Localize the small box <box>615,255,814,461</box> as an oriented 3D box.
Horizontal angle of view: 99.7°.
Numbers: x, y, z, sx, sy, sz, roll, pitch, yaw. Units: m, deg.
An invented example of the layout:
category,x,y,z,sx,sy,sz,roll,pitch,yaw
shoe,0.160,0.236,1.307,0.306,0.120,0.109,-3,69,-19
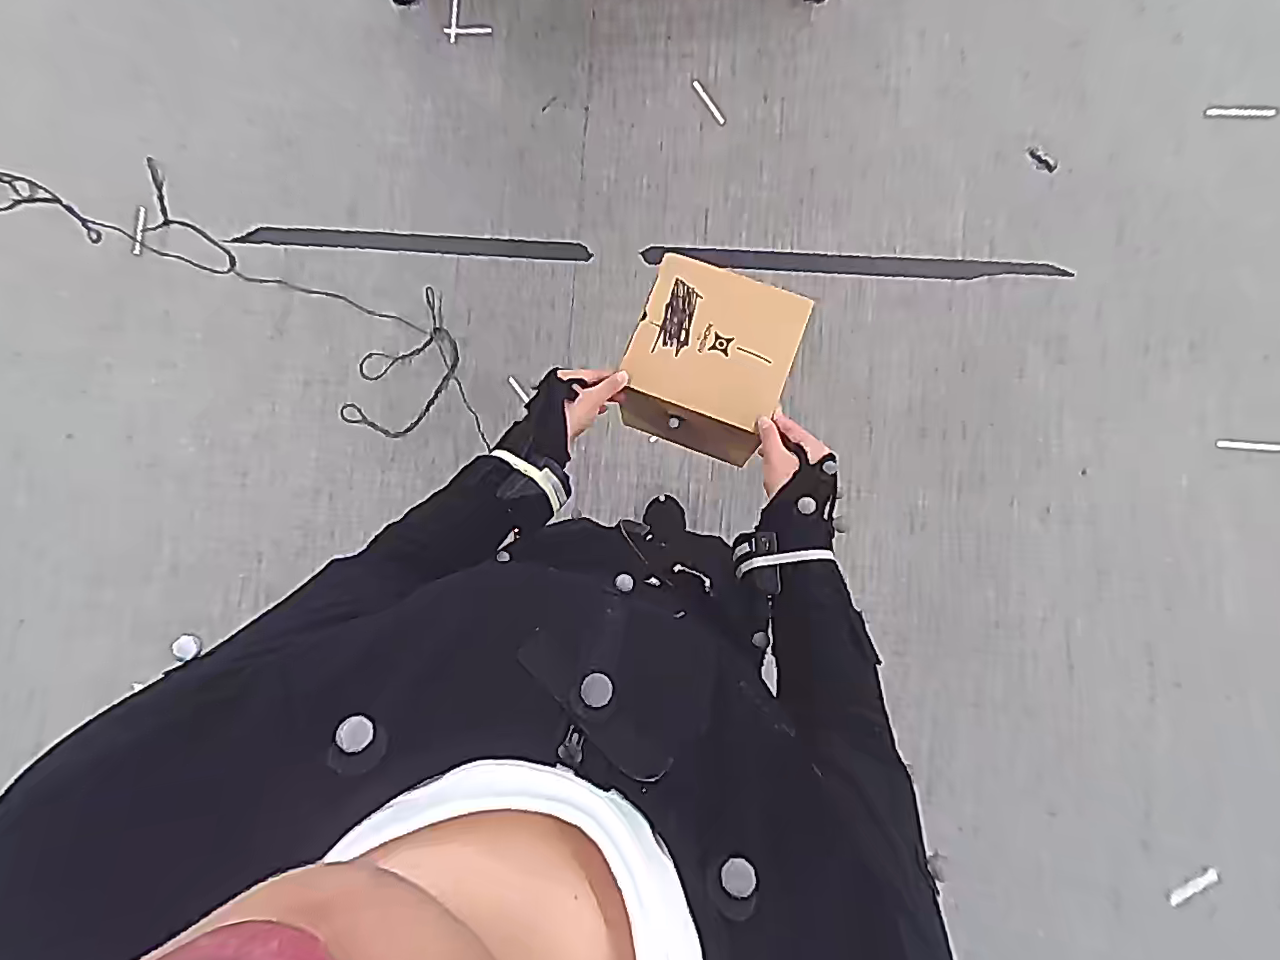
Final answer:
category,x,y,z,sx,sy,sz,roll,pitch,yaw
small box,0.084,-0.136,0.665,0.179,0.176,0.168,21,81,5
